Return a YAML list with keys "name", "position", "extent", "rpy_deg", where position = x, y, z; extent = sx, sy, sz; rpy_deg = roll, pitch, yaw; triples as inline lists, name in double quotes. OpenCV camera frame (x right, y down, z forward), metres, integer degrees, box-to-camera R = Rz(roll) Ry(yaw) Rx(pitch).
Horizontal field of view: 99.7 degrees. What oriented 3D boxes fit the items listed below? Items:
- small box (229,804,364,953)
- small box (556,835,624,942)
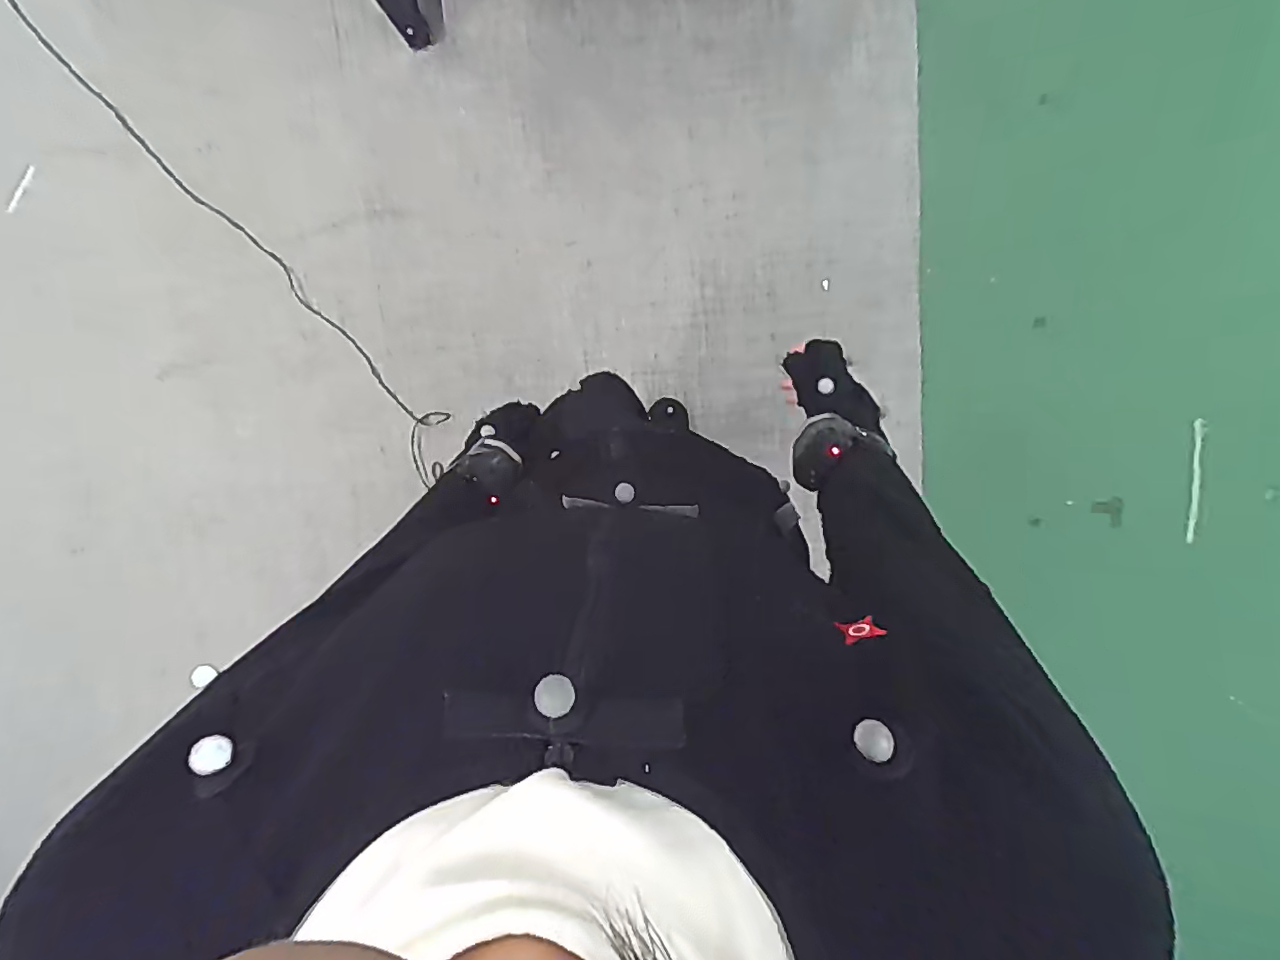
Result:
- name: "small box"
  position: [-0.757, 0.881, 1.211]
  extent: [0.168, 0.176, 0.179]
  rpy_deg: [26, 97, -2]
- name: "small box"
  position: [-0.136, 1.128, 1.505]
  extent: [0.168, 0.176, 0.179]
  rpy_deg: [2, 100, 3]
